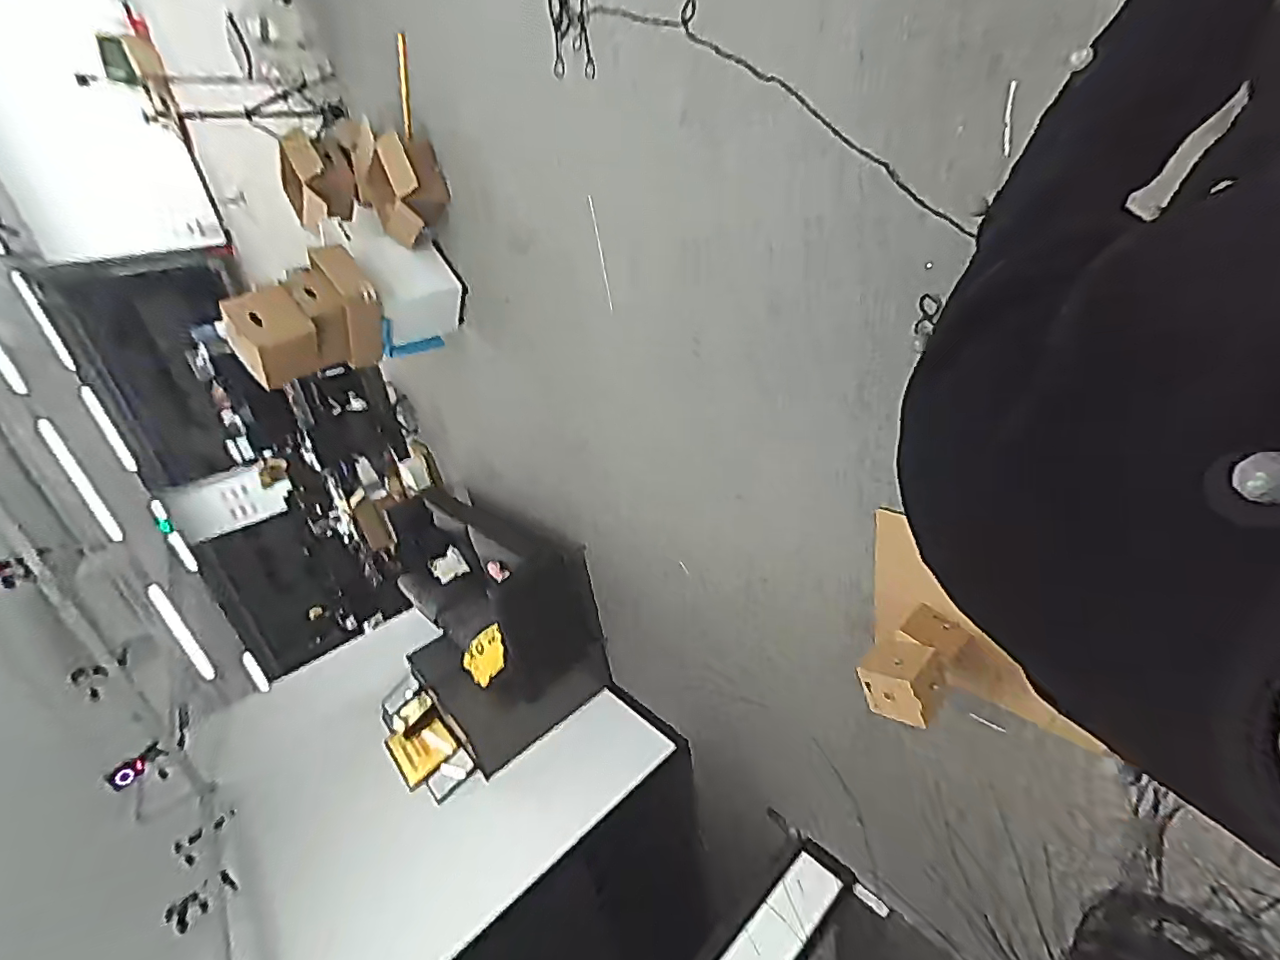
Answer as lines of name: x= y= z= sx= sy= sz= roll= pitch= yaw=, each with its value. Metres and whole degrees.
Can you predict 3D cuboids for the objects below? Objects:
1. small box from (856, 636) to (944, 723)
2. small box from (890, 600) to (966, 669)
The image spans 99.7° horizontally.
small box: x=0.802 y=0.600 z=1.655 sx=0.179 sy=0.176 sz=0.168 roll=-6 pitch=109 yaw=54
small box: x=0.916 y=0.526 z=1.747 sx=0.168 sy=0.176 sz=0.179 roll=37 pitch=139 yaw=33
